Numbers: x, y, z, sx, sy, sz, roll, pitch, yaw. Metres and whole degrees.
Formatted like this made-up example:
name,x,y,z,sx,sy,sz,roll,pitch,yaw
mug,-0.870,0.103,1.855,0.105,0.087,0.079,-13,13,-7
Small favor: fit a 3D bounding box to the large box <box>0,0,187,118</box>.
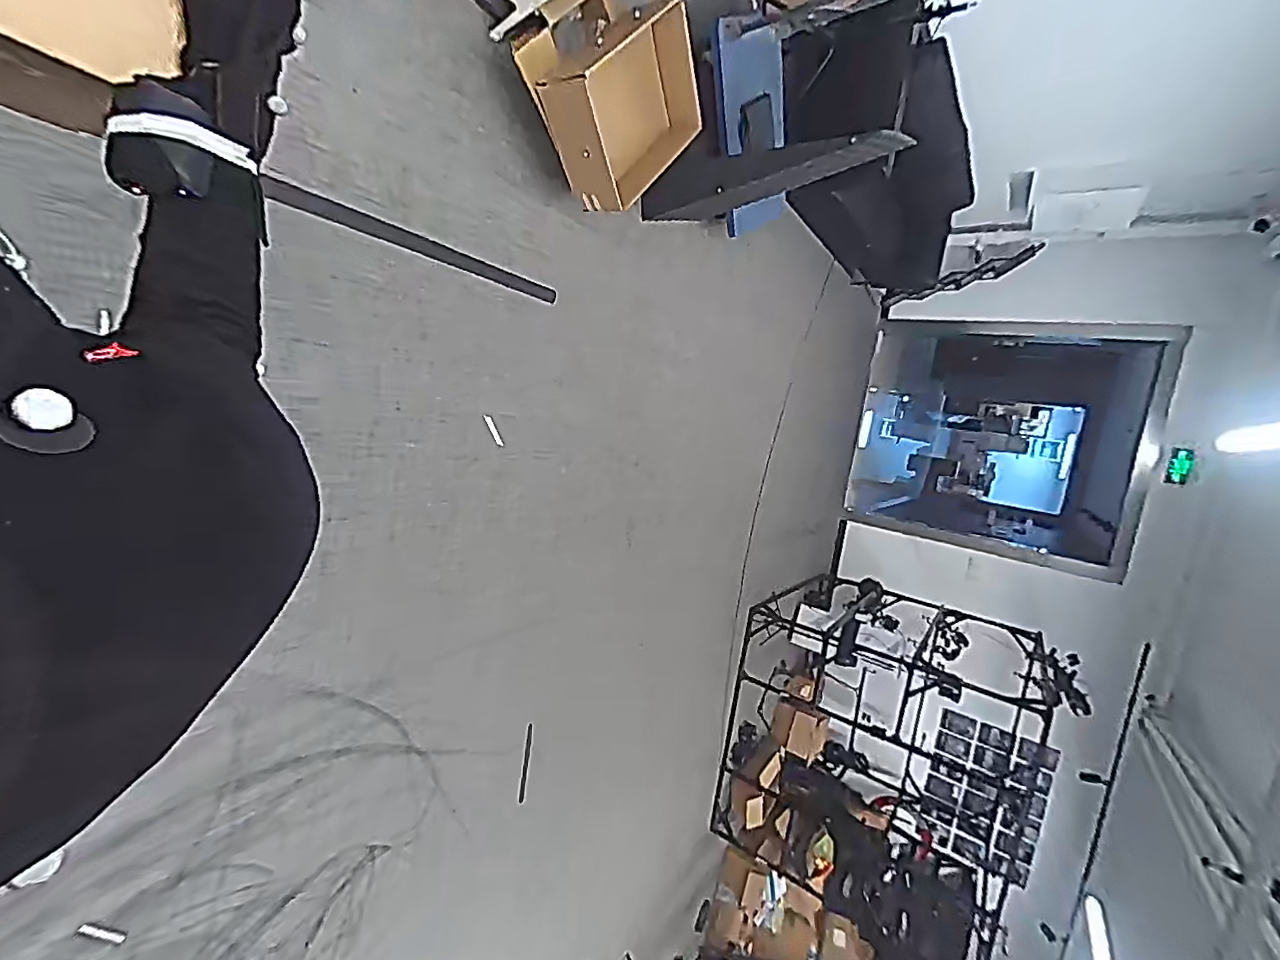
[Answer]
name,x,y,z,sx,sy,sz,roll,pitch,yaw
large box,-0.537,-0.466,0.288,0.408,0.320,0.320,-1,109,-57
